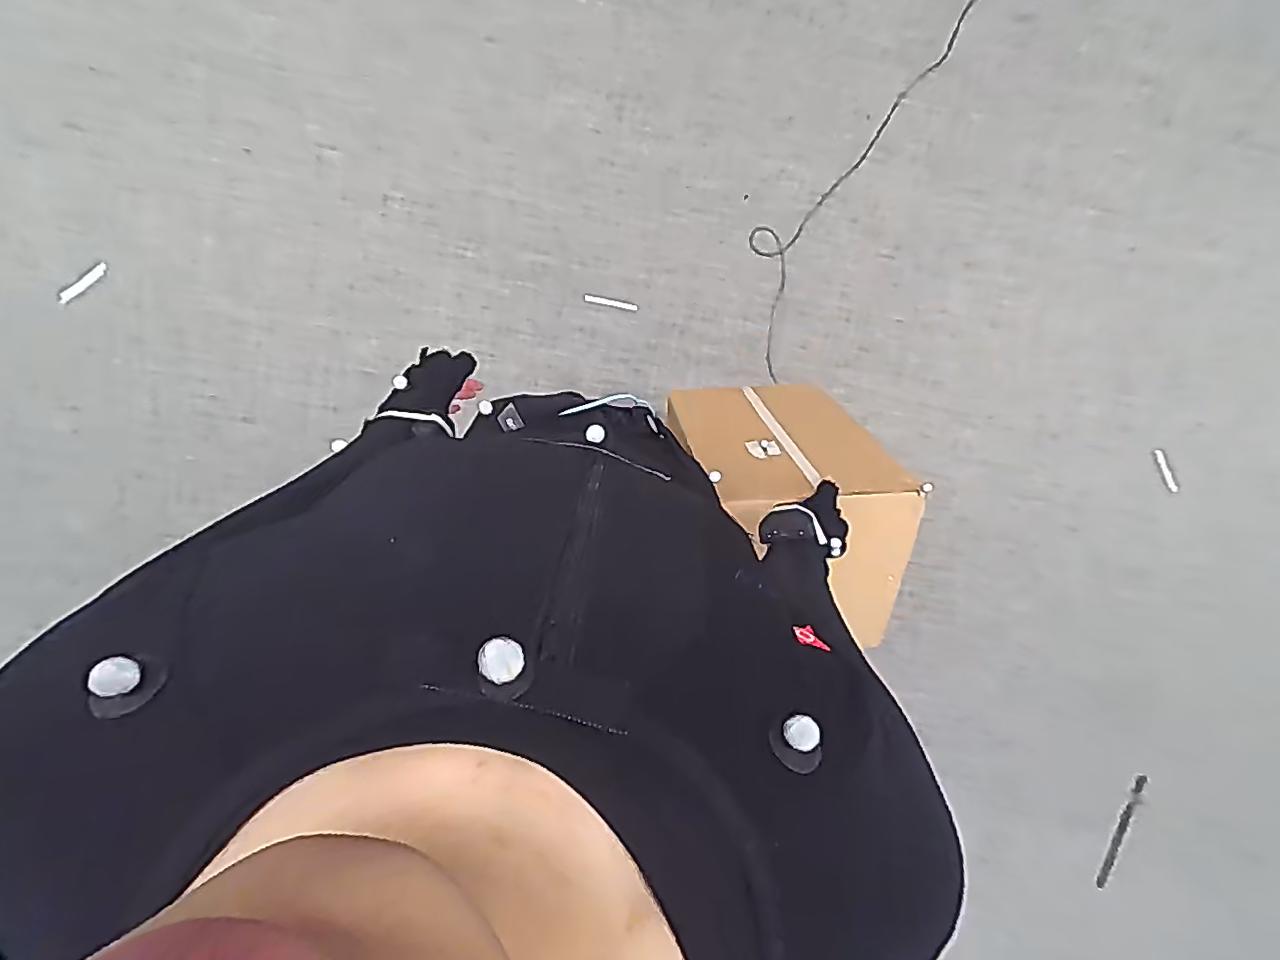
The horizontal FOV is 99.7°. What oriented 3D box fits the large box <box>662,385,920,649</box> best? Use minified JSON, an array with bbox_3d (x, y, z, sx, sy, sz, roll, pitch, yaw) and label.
[{"bbox_3d":[0.225,0.045,1.003,0.320,0.408,0.320,-4,123,-5],"label":"large box"}]
